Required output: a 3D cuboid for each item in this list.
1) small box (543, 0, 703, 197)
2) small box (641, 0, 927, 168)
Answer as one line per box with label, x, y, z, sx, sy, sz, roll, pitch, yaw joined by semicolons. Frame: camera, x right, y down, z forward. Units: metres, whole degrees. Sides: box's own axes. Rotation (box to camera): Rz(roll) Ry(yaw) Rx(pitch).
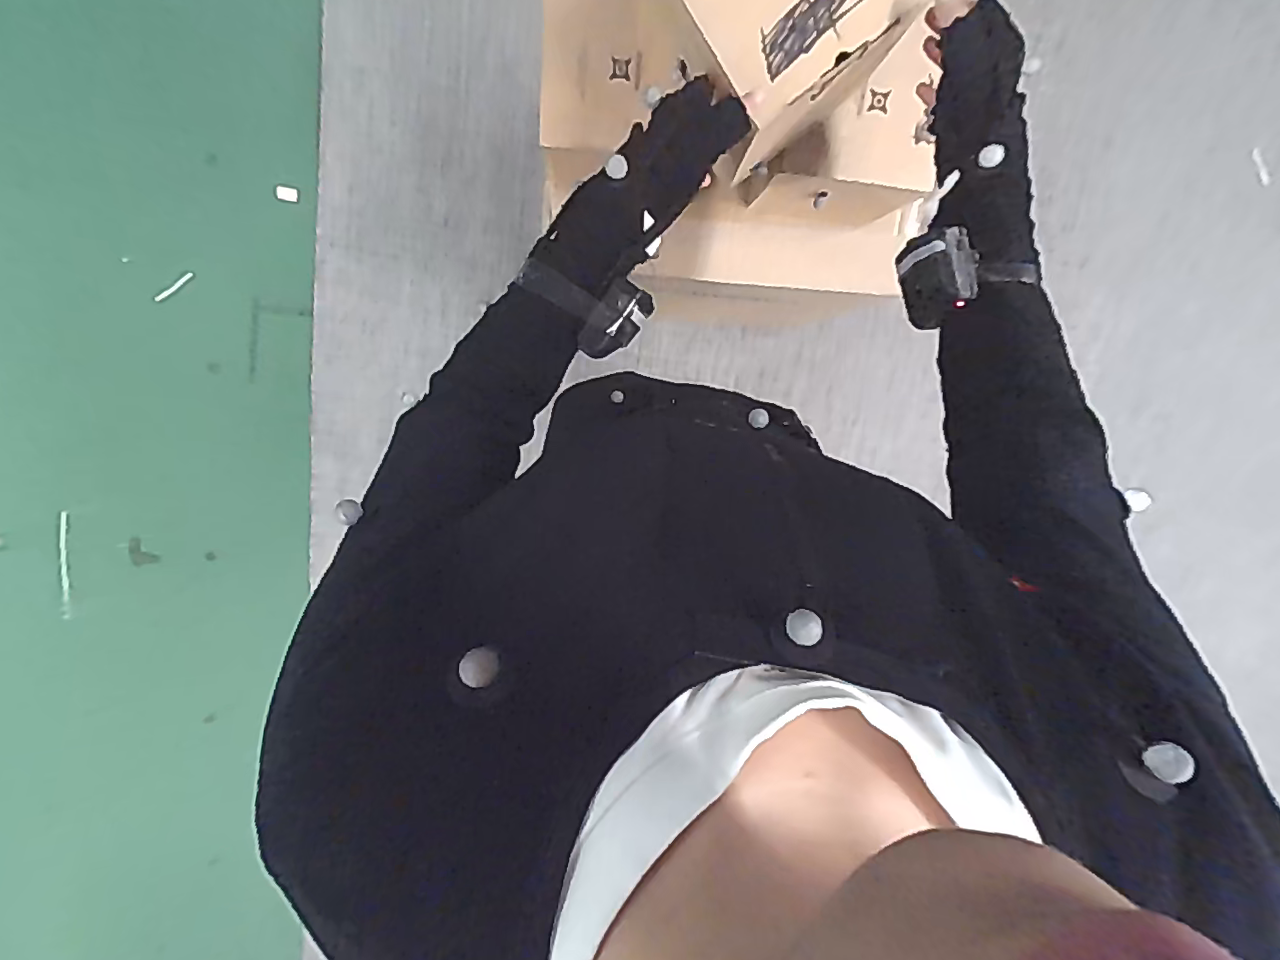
small box;-0.014;-0.455;0.652;0.179;0.176;0.168;4;102;-1
small box;0.114;-0.420;0.492;0.168;0.176;0.179;-35;100;7
